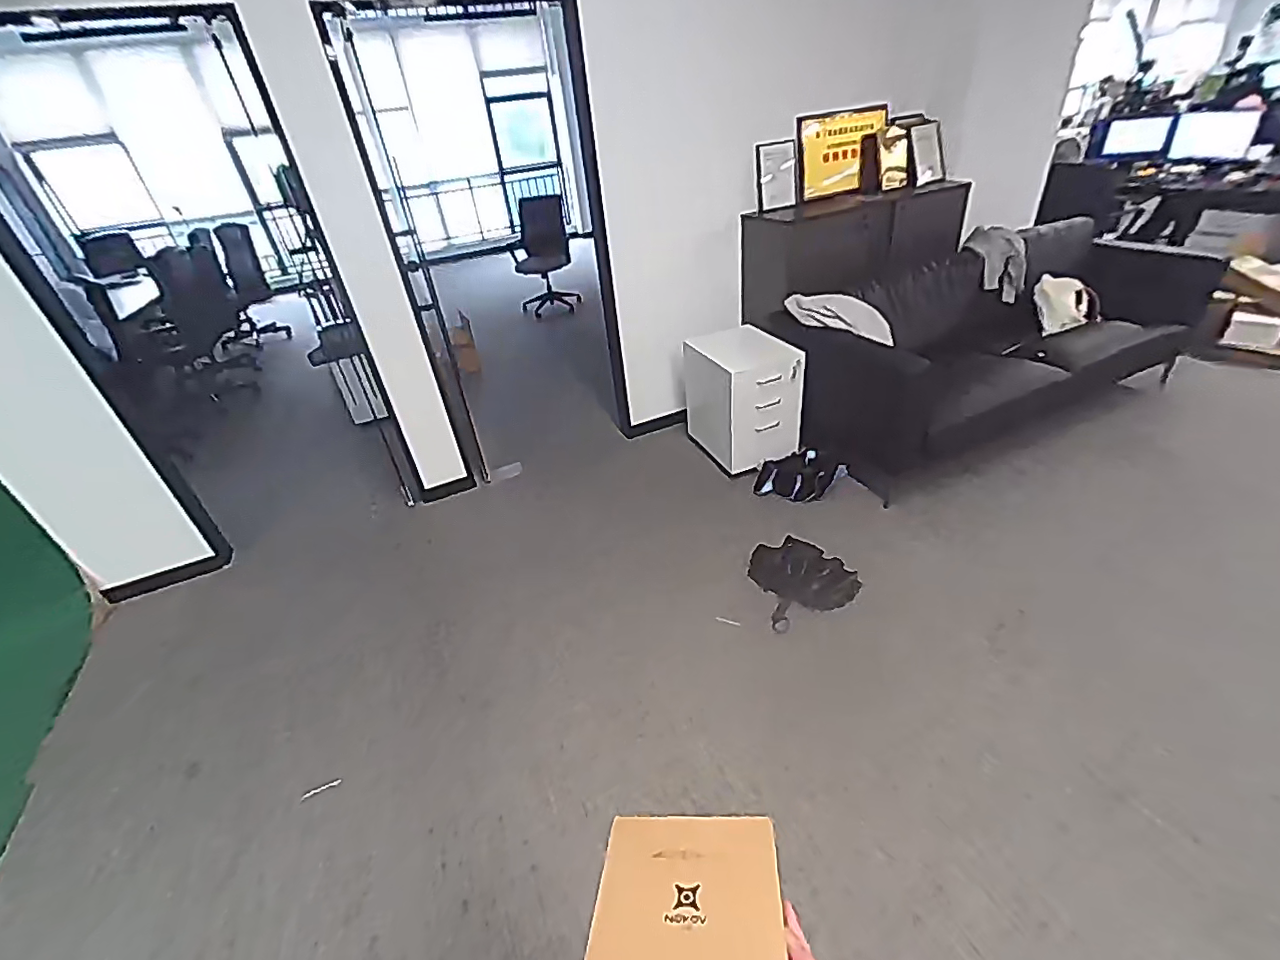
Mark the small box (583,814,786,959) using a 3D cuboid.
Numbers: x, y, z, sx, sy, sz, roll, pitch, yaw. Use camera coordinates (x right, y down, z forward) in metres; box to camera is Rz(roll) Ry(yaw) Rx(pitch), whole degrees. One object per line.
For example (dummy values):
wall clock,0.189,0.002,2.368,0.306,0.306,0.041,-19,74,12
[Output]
small box,0.050,0.446,0.496,0.168,0.176,0.179,-5,14,8
